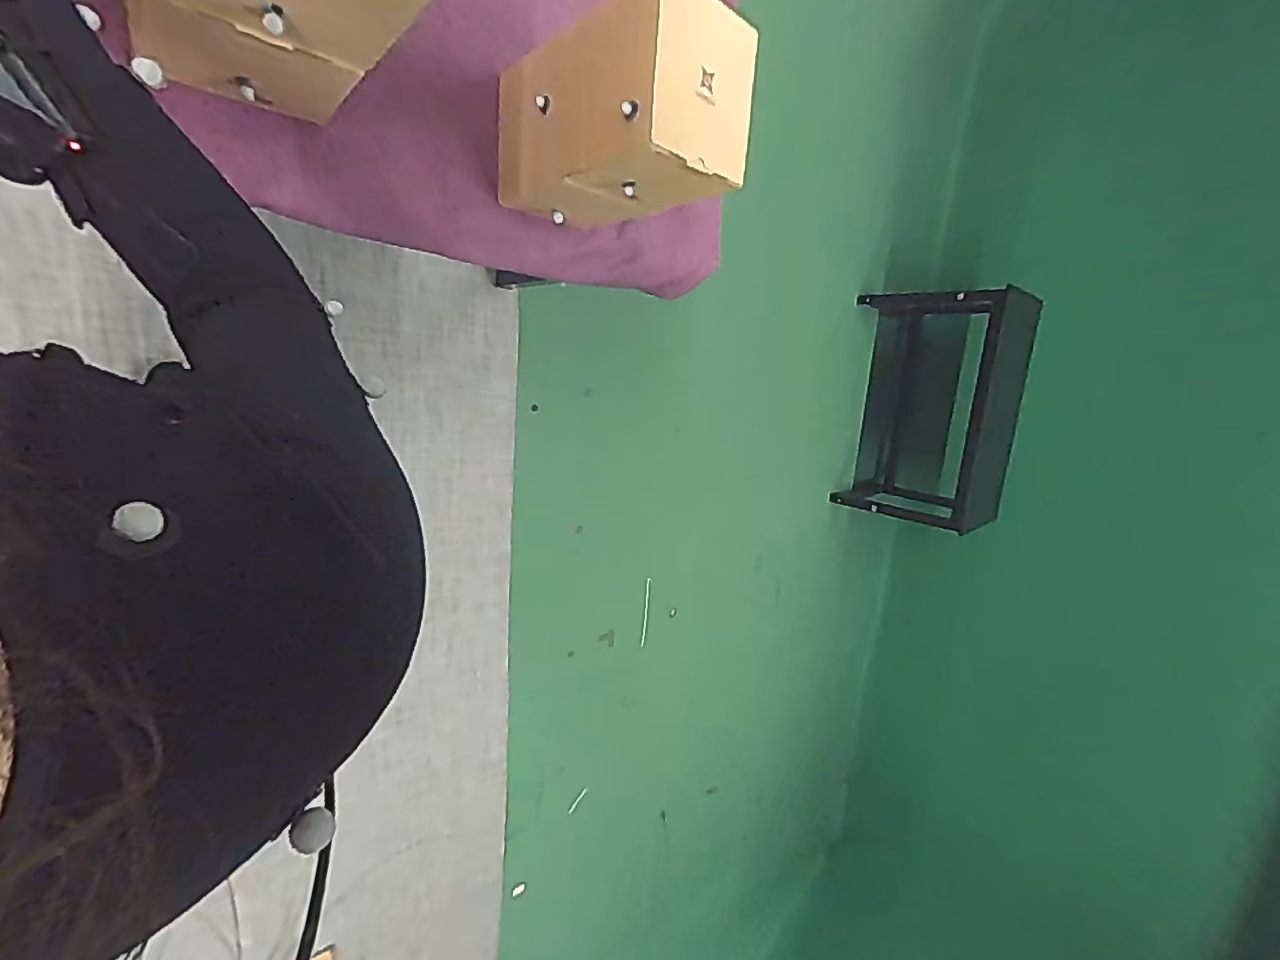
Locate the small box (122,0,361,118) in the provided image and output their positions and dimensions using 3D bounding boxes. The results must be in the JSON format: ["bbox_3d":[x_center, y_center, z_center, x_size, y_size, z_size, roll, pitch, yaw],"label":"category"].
[{"bbox_3d":[-0.381,-0.485,0.510,0.168,0.176,0.179,-8,106,-42],"label":"small box"}]

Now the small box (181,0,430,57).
[{"bbox_3d":[-0.269,-0.453,0.394,0.179,0.176,0.168,-10,105,-43],"label":"small box"}]

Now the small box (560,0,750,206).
[{"bbox_3d":[0.014,-0.464,0.671,0.168,0.176,0.179,-7,106,-43],"label":"small box"}]

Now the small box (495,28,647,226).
[{"bbox_3d":[-0.098,-0.490,0.786,0.168,0.176,0.179,-7,106,-43],"label":"small box"}]
